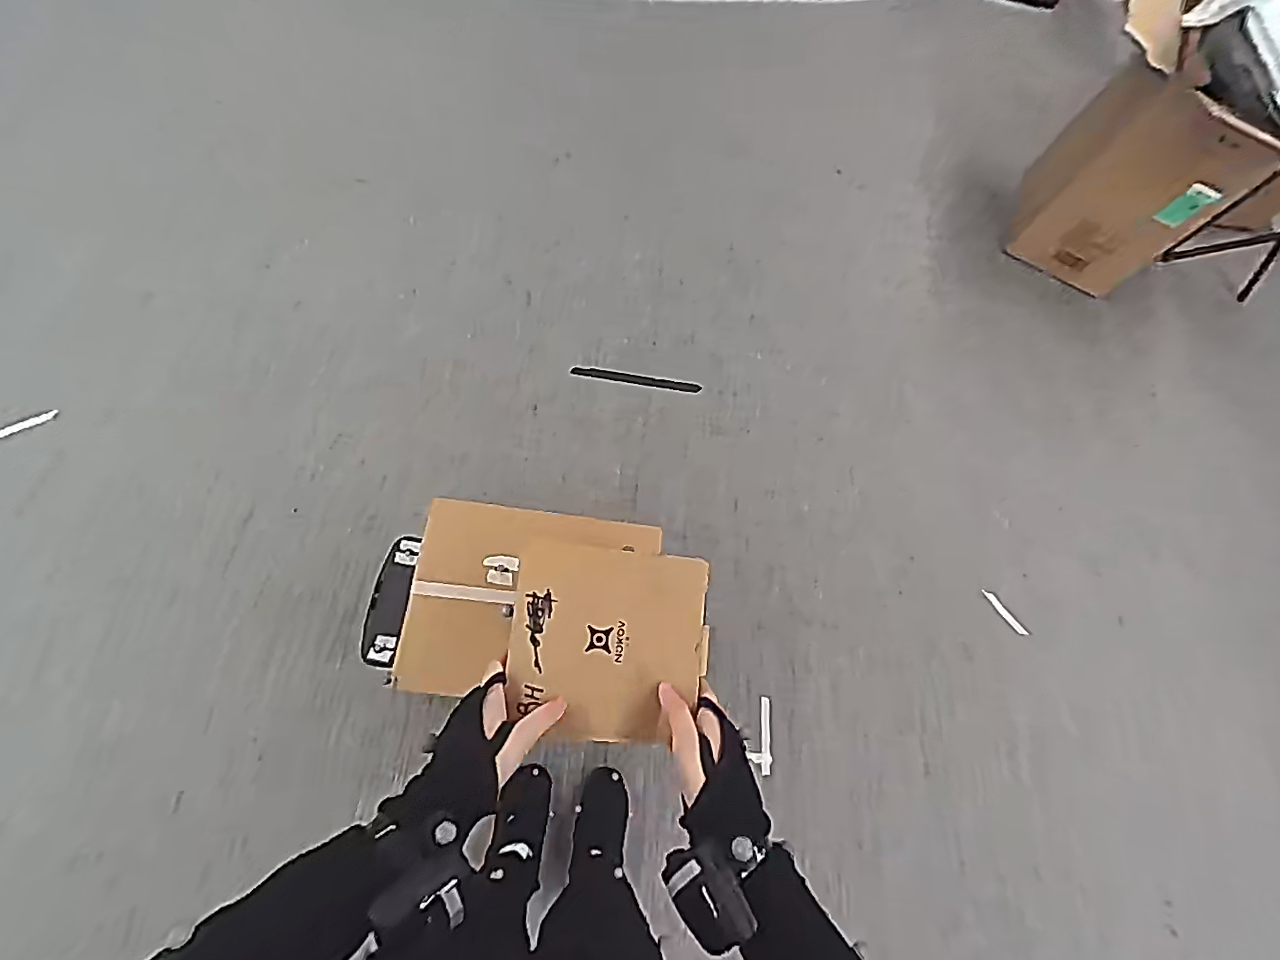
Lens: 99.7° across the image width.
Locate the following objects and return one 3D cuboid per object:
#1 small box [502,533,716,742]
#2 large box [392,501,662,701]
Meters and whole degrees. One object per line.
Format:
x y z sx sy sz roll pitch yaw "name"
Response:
-0.033 0.156 0.556 0.179 0.176 0.168 8 75 -6 "small box"
-0.184 0.250 1.026 0.408 0.320 0.320 8 69 -4 "large box"
